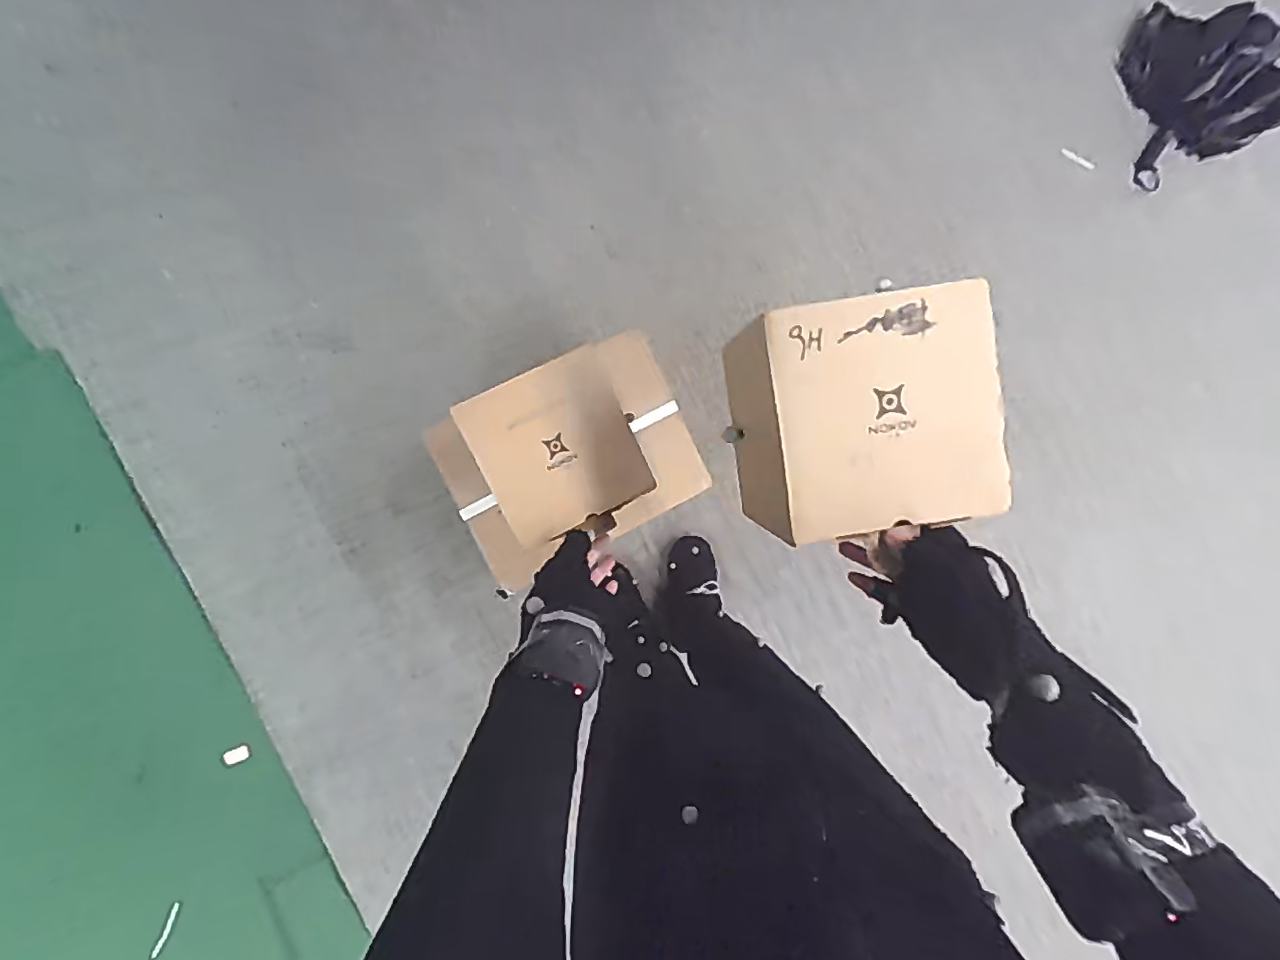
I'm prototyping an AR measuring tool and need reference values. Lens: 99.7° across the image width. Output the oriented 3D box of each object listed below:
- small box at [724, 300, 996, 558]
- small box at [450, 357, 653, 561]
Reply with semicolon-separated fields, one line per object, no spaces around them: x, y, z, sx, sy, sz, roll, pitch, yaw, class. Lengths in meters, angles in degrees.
0.178;-0.045;0.483;0.168;0.176;0.179;-9;96;0;small box
-0.104;-0.029;0.665;0.168;0.176;0.179;-28;97;-7;small box
